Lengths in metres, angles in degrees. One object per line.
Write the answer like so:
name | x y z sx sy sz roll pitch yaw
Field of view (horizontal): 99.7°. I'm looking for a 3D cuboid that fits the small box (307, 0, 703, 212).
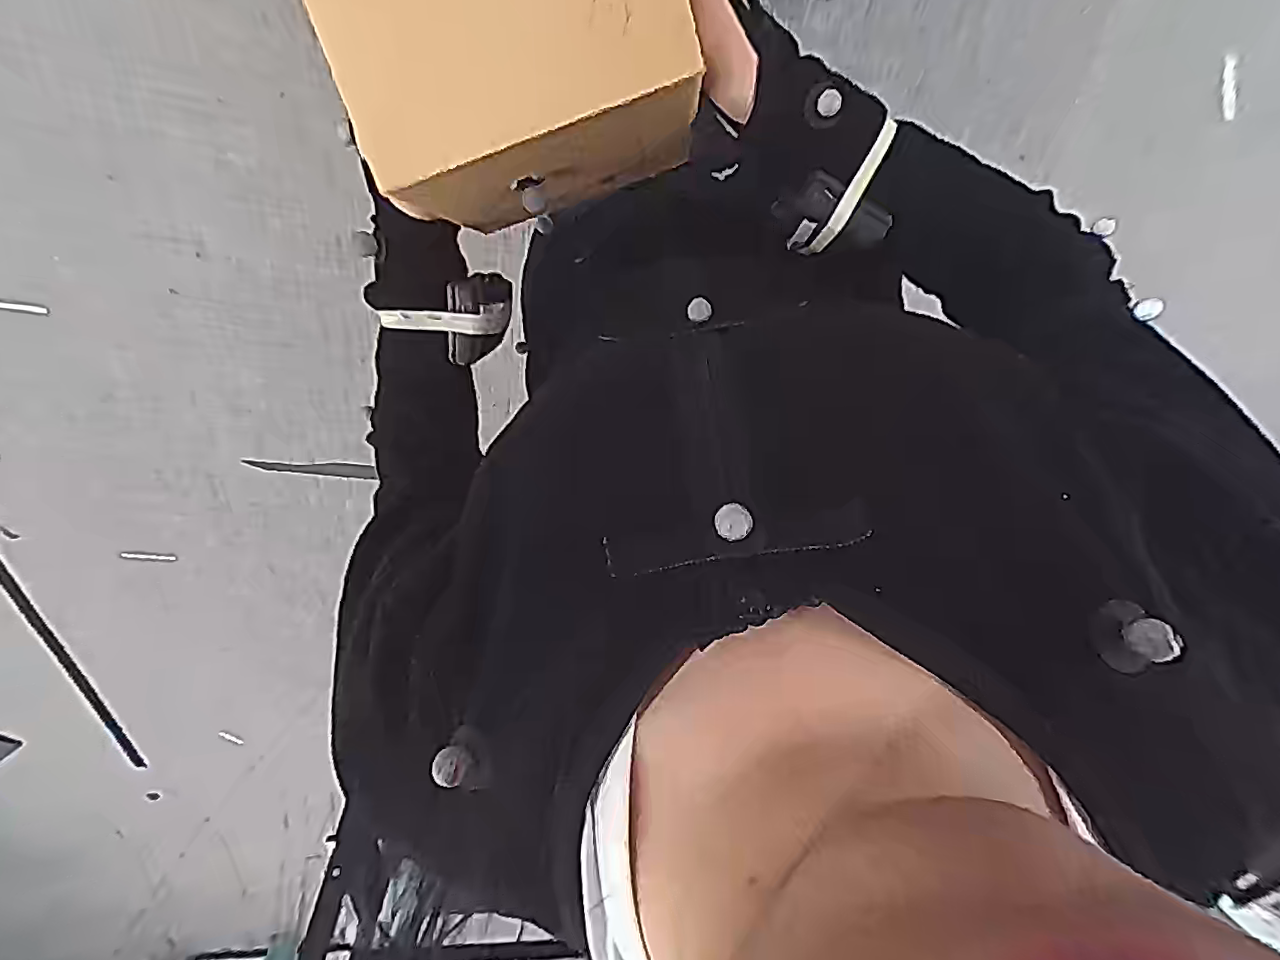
small box | -0.068 -0.266 0.299 0.168 0.176 0.179 -16 106 7
